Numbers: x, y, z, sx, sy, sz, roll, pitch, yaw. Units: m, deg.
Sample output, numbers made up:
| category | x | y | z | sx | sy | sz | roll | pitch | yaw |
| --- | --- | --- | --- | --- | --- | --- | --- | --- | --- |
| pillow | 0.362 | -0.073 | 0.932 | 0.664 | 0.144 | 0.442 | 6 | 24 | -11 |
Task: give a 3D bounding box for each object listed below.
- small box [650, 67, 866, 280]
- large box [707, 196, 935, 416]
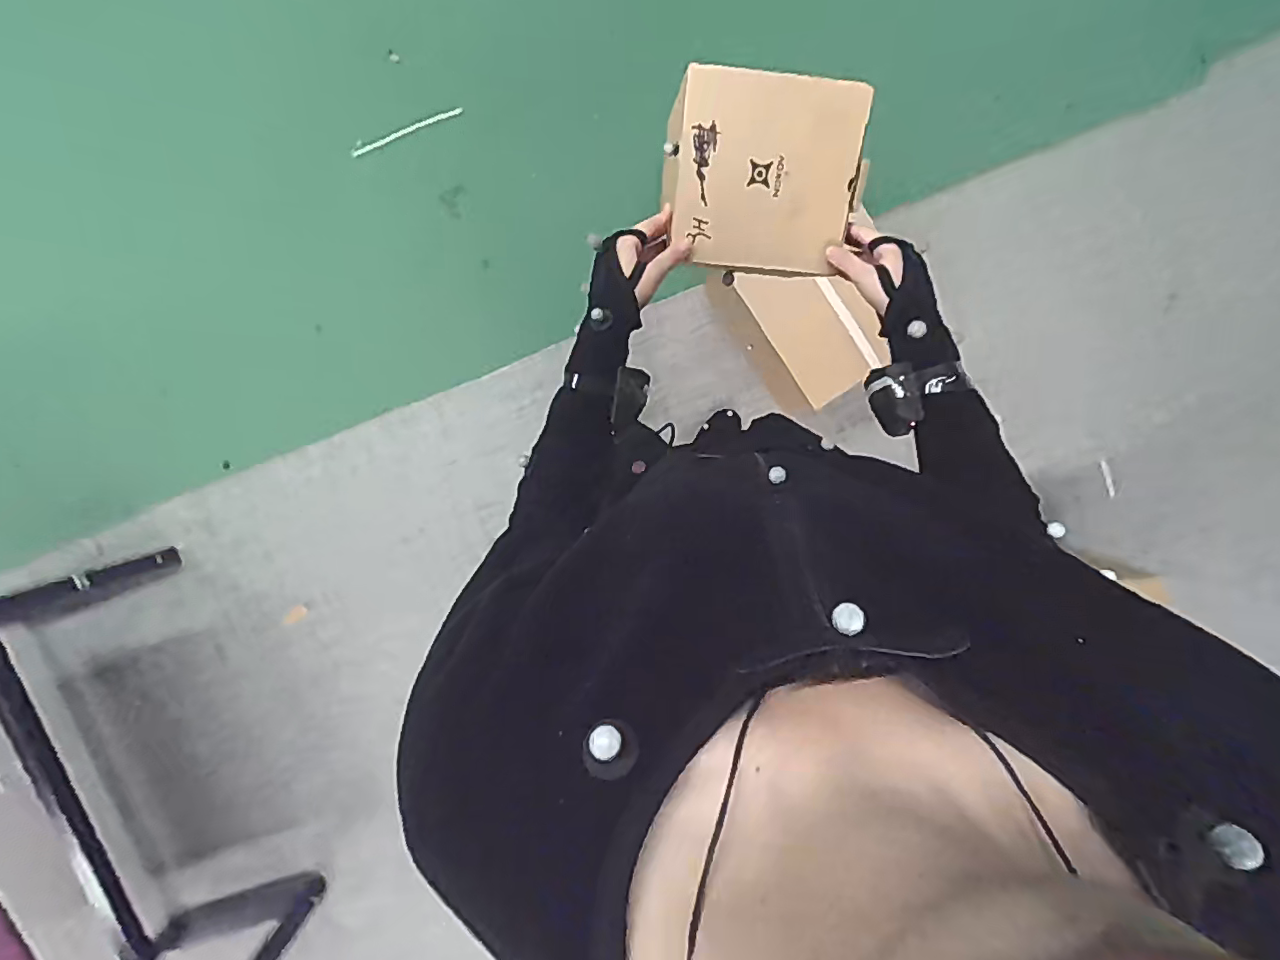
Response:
| category | x | y | z | sx | sy | sz | roll | pitch | yaw |
| --- | --- | --- | --- | --- | --- | --- | --- | --- | --- |
| small box | 0.111 | -0.313 | 0.590 | 0.179 | 0.176 | 0.168 | 3 | 109 | -5 |
| large box | 0.402 | -0.402 | 1.302 | 0.320 | 0.320 | 0.408 | -34 | 93 | 5 |
